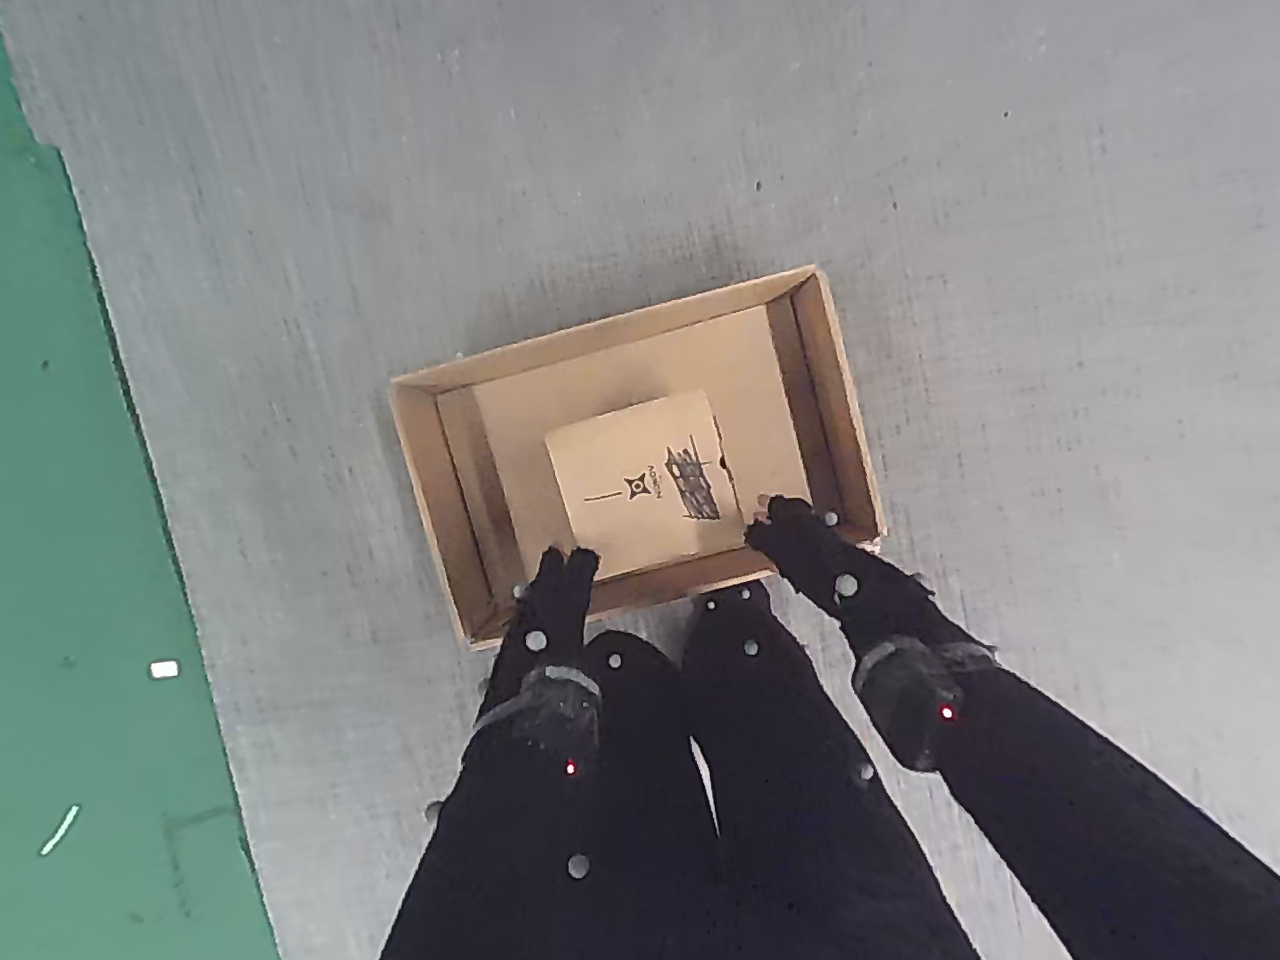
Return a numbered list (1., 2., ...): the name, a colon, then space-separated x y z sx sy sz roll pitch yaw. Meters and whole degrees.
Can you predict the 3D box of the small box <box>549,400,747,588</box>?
1. small box: 0.011 0.009 0.636 0.179 0.176 0.168 -14 93 4
